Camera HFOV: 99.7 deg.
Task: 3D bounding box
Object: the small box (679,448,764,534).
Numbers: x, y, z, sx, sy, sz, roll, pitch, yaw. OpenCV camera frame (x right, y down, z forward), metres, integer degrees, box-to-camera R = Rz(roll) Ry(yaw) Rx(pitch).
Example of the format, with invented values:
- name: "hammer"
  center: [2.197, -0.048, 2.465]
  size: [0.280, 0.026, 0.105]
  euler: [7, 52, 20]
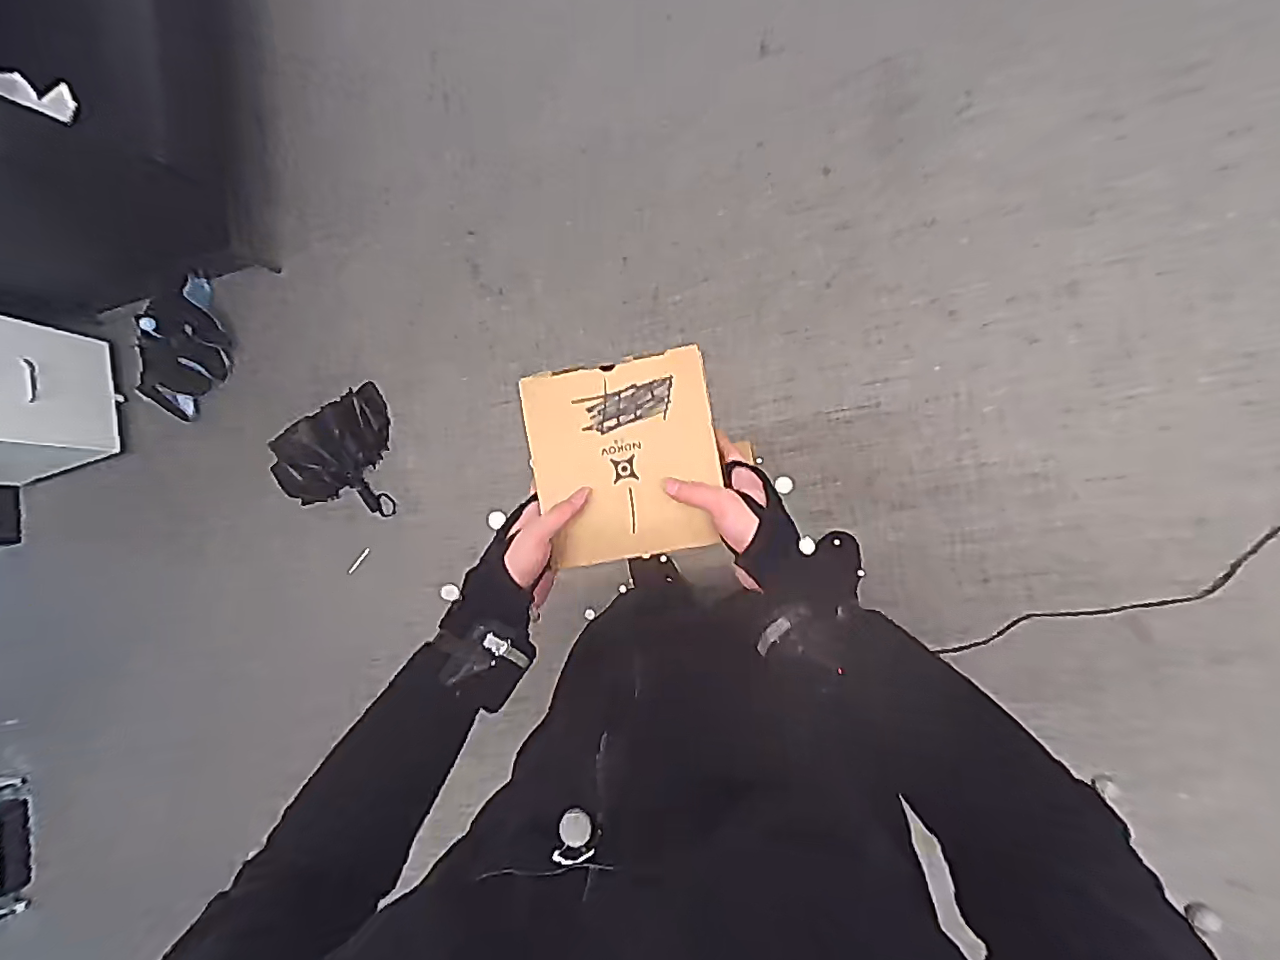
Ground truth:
- name: "small box"
  center: [0.199, 0.030, 1.294]
  size: [0.168, 0.176, 0.179]
  euler: [-10, 86, 15]
